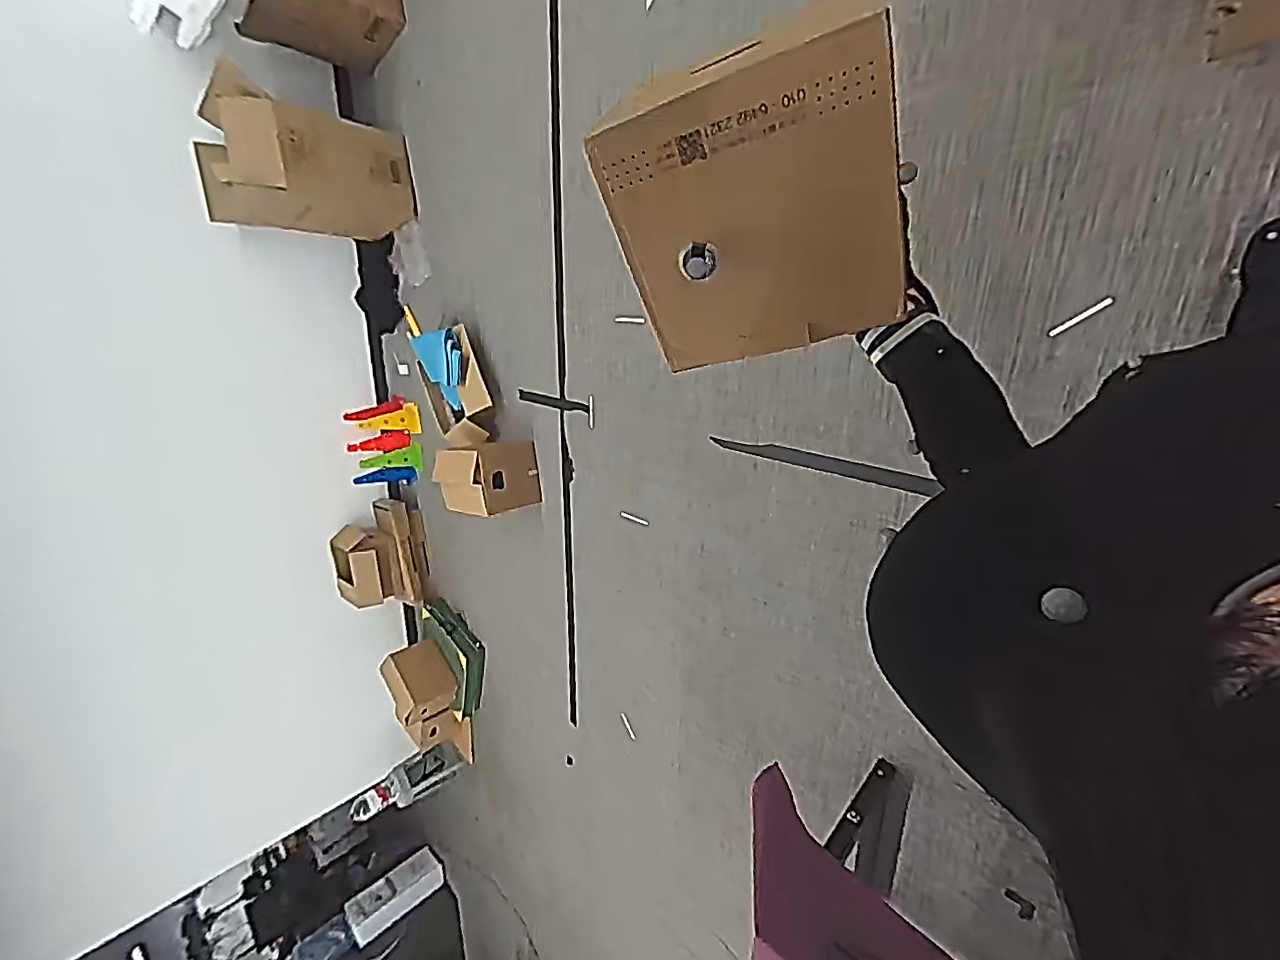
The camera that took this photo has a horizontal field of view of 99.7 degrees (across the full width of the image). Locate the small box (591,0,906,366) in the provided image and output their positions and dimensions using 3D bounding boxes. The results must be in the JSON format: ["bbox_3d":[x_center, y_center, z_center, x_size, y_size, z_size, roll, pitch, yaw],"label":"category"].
[{"bbox_3d":[0.083,-0.214,0.387,0.168,0.179,0.176,-8,132,23],"label":"small box"}]
